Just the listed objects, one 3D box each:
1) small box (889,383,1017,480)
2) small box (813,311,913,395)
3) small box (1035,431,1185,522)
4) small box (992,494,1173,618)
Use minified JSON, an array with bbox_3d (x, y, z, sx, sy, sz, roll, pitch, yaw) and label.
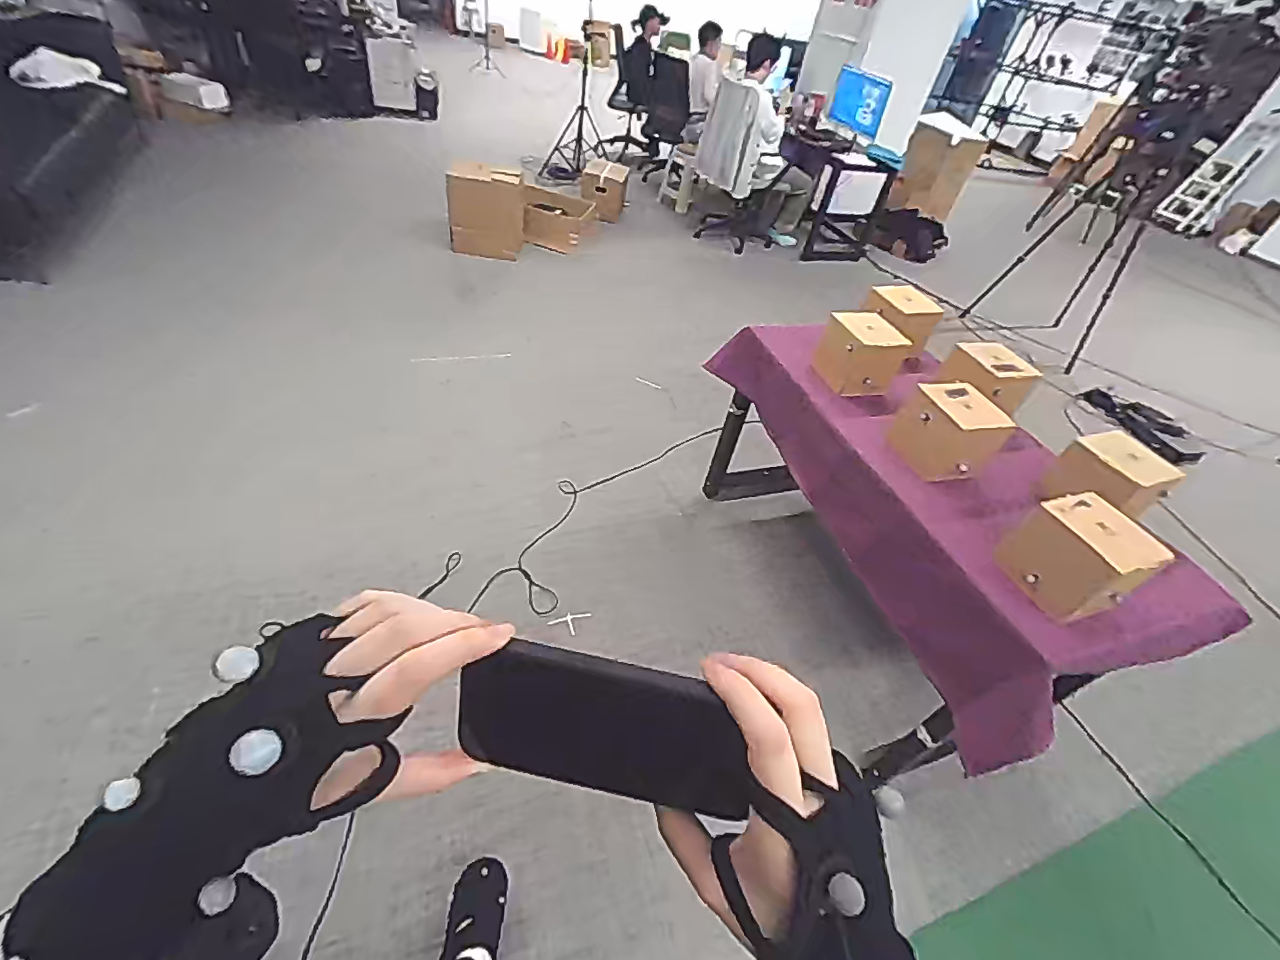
[{"bbox_3d":[0.753,-0.119,1.324,0.168,0.176,0.179,-4,47,-18],"label":"small box"},{"bbox_3d":[0.628,-0.363,1.547,0.168,0.176,0.179,-6,47,-19],"label":"small box"},{"bbox_3d":[1.092,0.008,1.272,0.179,0.176,0.168,-9,47,-21],"label":"small box"},{"bbox_3d":[0.857,0.154,1.065,0.168,0.176,0.179,-7,47,-21],"label":"small box"}]
